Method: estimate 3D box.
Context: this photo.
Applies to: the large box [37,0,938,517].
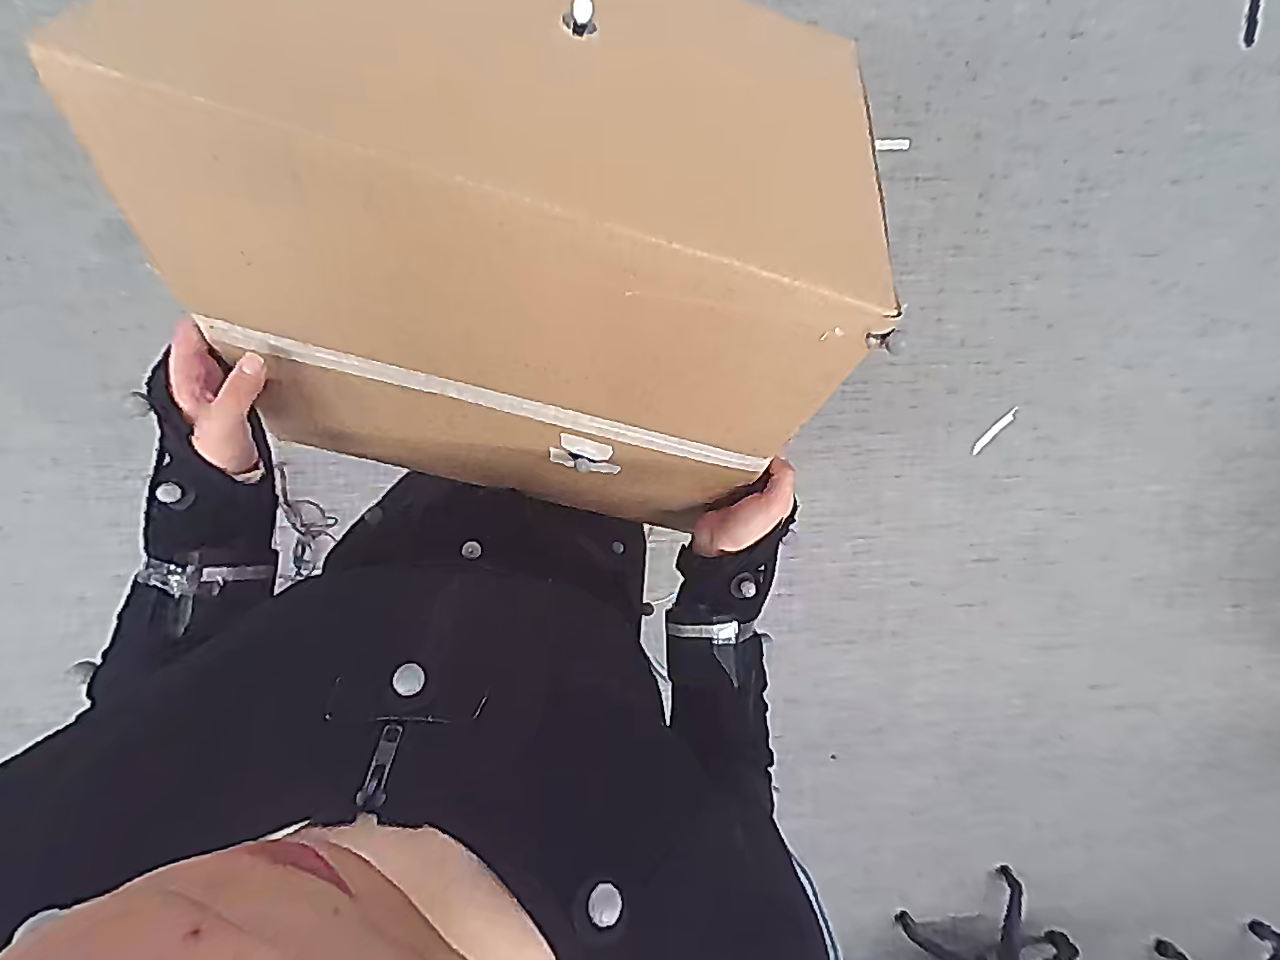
[{"bbox_3d":[-0.064,-0.204,0.436,0.408,0.320,0.320,13,61,-9],"label":"large box"}]
